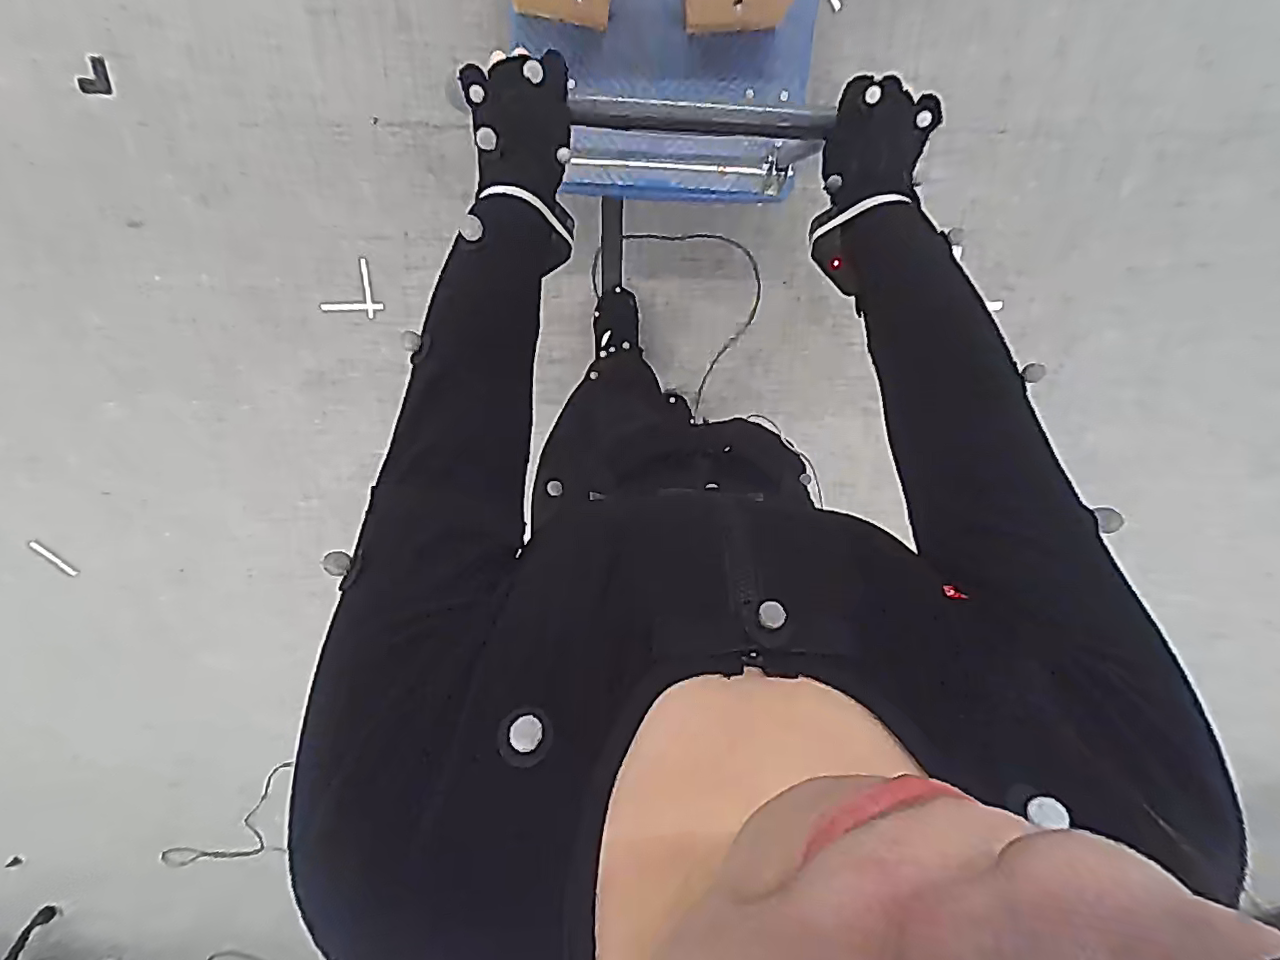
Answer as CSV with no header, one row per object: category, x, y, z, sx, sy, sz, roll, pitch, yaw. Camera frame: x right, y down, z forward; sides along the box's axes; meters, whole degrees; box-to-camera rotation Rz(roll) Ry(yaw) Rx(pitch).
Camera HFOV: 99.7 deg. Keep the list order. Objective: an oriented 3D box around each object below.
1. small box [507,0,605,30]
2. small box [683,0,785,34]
small box,-0.142,-0.898,0.906,0.179,0.176,0.168,7,110,-6
small box,0.163,-0.891,0.917,0.179,0.176,0.168,-4,111,0
